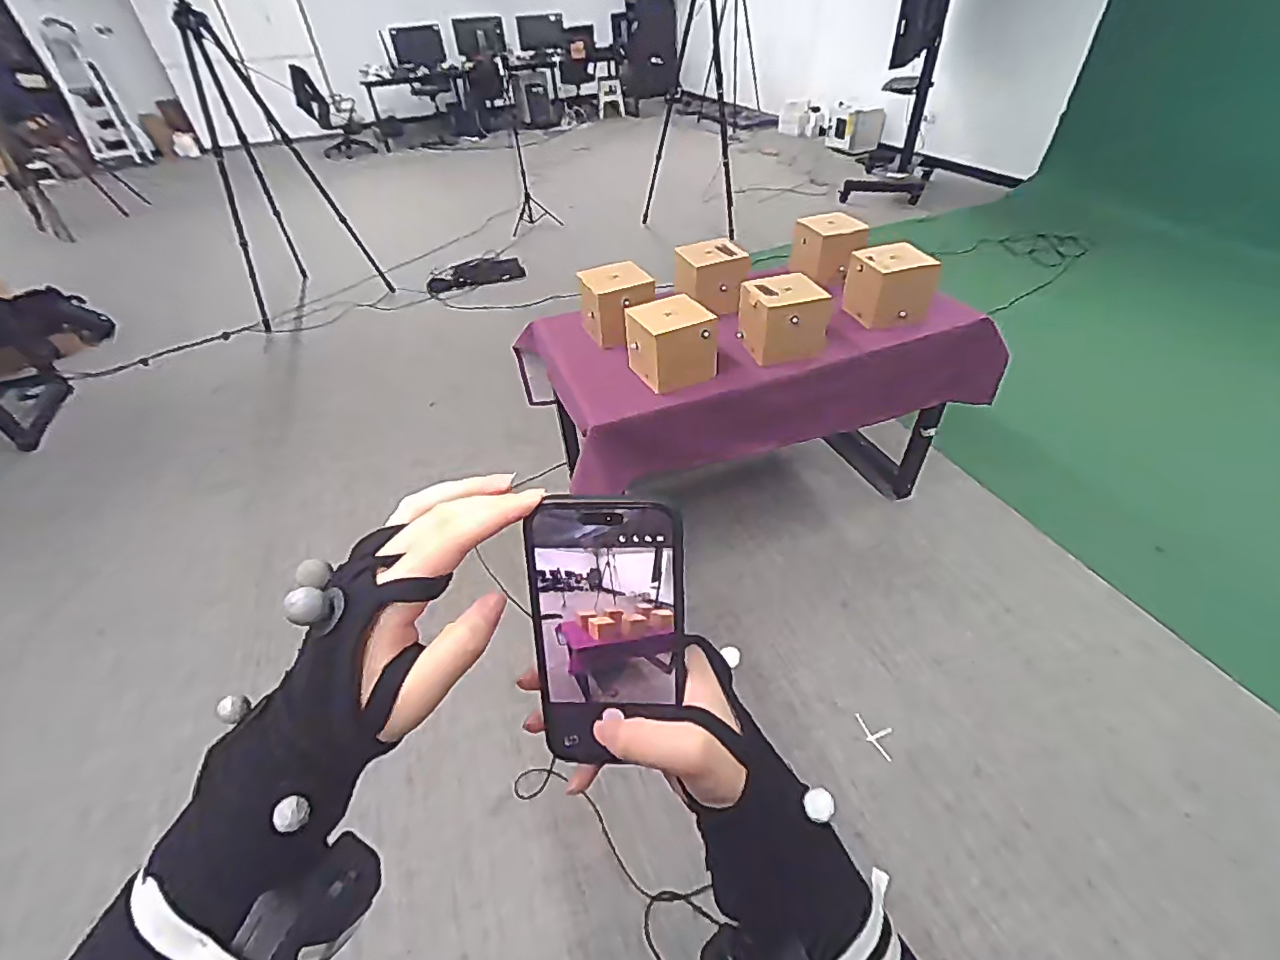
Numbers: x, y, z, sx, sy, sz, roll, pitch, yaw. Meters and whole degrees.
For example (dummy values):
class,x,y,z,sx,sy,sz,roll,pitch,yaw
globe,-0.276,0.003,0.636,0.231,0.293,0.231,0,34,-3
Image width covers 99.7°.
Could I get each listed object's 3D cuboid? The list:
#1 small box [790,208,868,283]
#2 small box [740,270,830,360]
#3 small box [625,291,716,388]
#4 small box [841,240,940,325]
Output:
class,x,y,z,sx,sy,sz,roll,pitch,yaw
small box,0.607,-0.764,1.767,0.168,0.176,0.179,-15,45,-10
small box,0.375,-0.436,1.438,0.179,0.176,0.168,-12,44,-10
small box,0.078,-0.355,1.377,0.179,0.176,0.168,-21,45,-18
small box,0.706,-0.563,1.547,0.179,0.176,0.168,-12,43,-9
